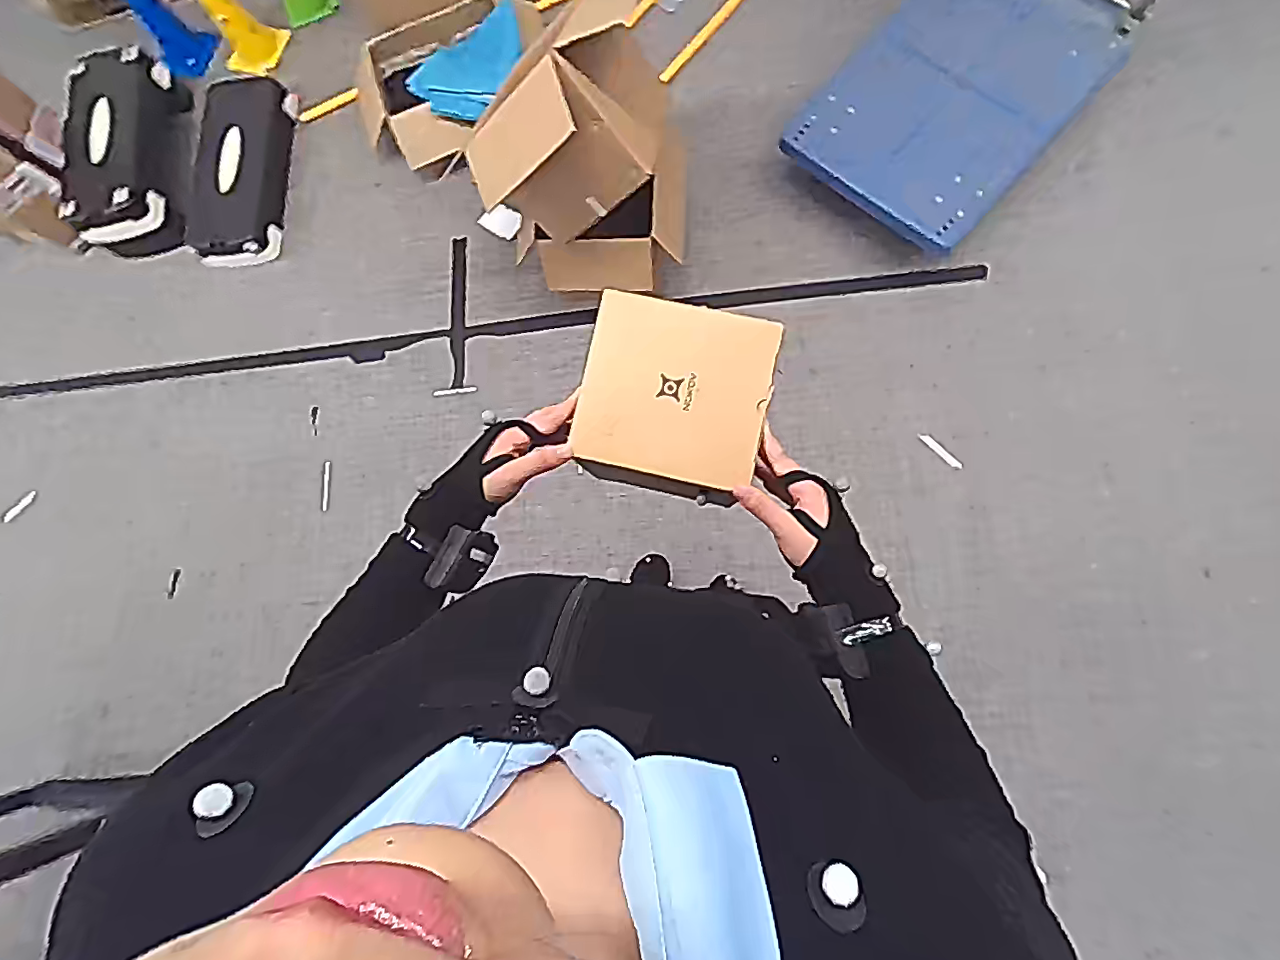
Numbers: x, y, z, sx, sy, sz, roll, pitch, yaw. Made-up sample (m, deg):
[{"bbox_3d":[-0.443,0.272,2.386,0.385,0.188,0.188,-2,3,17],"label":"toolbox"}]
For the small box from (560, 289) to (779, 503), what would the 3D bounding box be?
[{"bbox_3d":[0.031,-0.075,0.576,0.179,0.176,0.168,12,84,3],"label":"small box"}]
